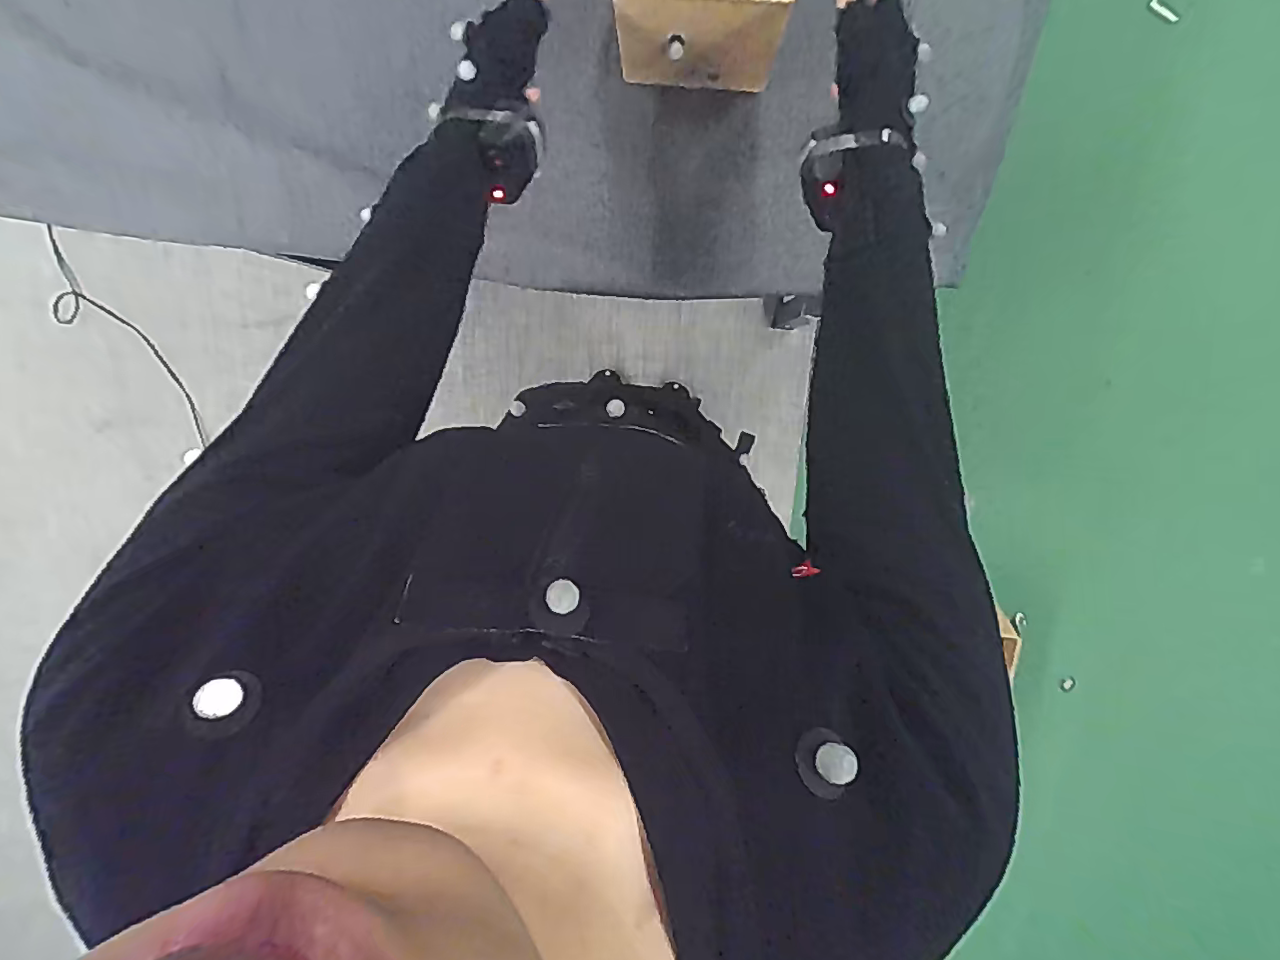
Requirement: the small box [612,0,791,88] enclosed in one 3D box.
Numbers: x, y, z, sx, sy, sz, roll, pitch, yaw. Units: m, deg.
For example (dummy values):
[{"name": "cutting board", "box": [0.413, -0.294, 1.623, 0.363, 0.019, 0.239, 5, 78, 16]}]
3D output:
[{"name": "small box", "box": [0.068, -0.527, 0.538, 0.168, 0.176, 0.179, 6, 102, 2]}]
